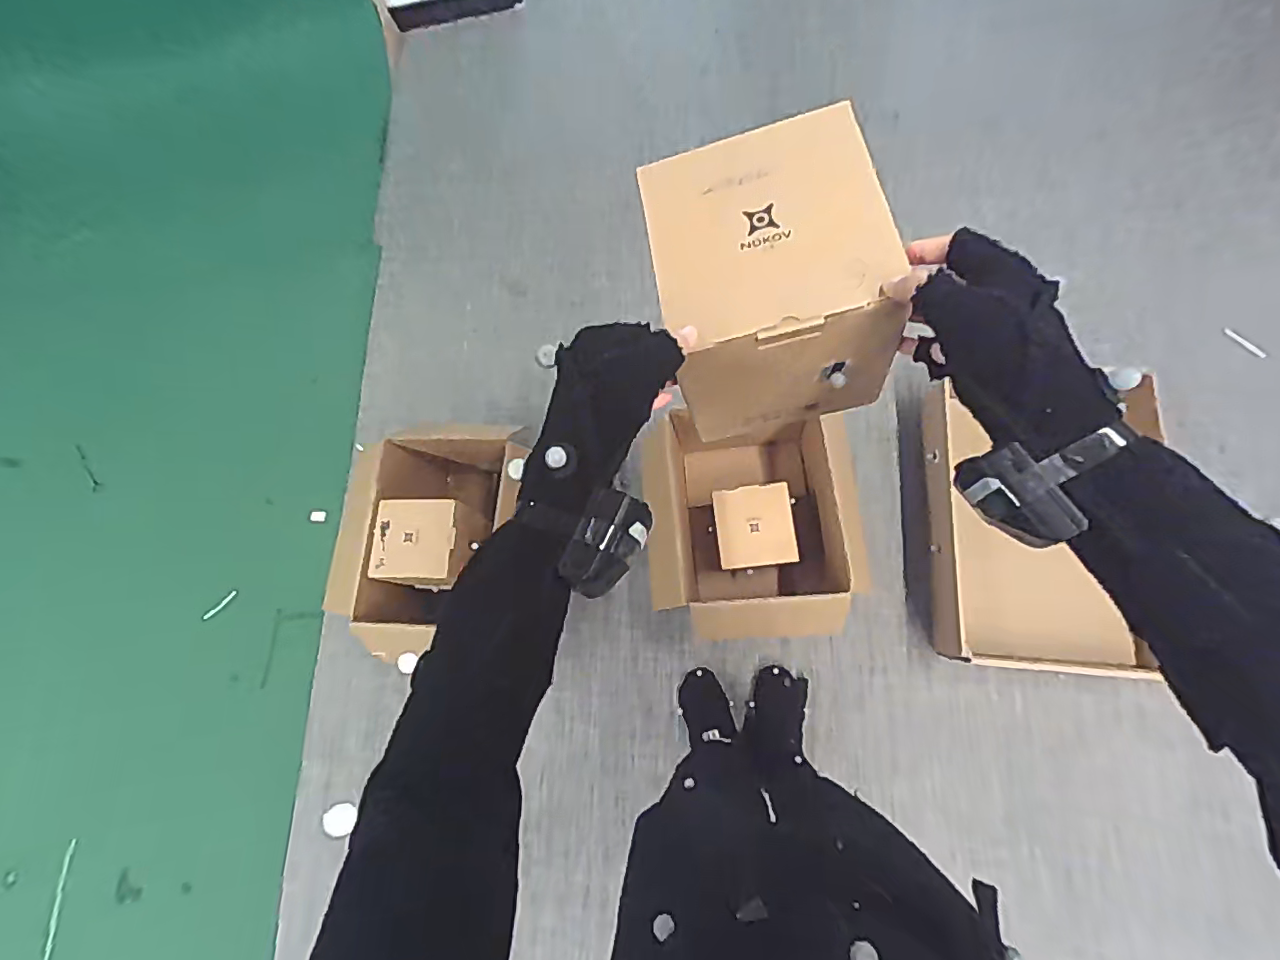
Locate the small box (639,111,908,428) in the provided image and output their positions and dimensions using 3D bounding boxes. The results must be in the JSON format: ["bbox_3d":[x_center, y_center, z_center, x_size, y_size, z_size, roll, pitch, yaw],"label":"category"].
[{"bbox_3d":[0.107,-0.157,0.465,0.168,0.176,0.179,-12,70,10],"label":"small box"}]
